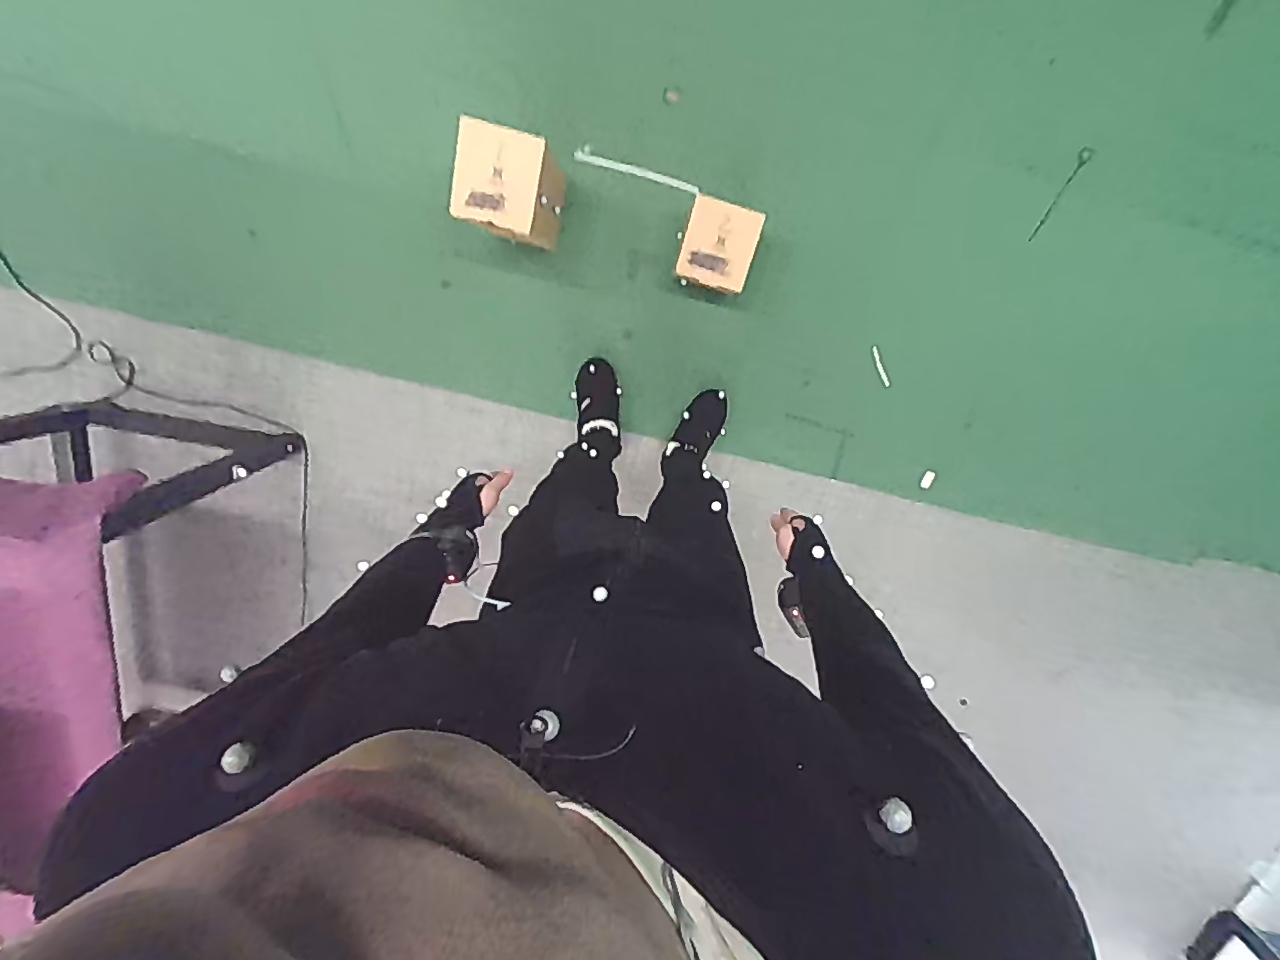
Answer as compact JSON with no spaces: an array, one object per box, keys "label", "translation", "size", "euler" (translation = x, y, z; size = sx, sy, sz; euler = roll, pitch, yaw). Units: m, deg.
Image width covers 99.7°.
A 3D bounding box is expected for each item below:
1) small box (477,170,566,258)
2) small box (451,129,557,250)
[{"label":"small box","translation":[-0.278,-0.645,1.291],"size":[0.168,0.176,0.179],"euler":[13,108,-4]},{"label":"small box","translation":[-0.278,-0.595,1.135],"size":[0.168,0.176,0.179],"euler":[13,107,-4]}]
